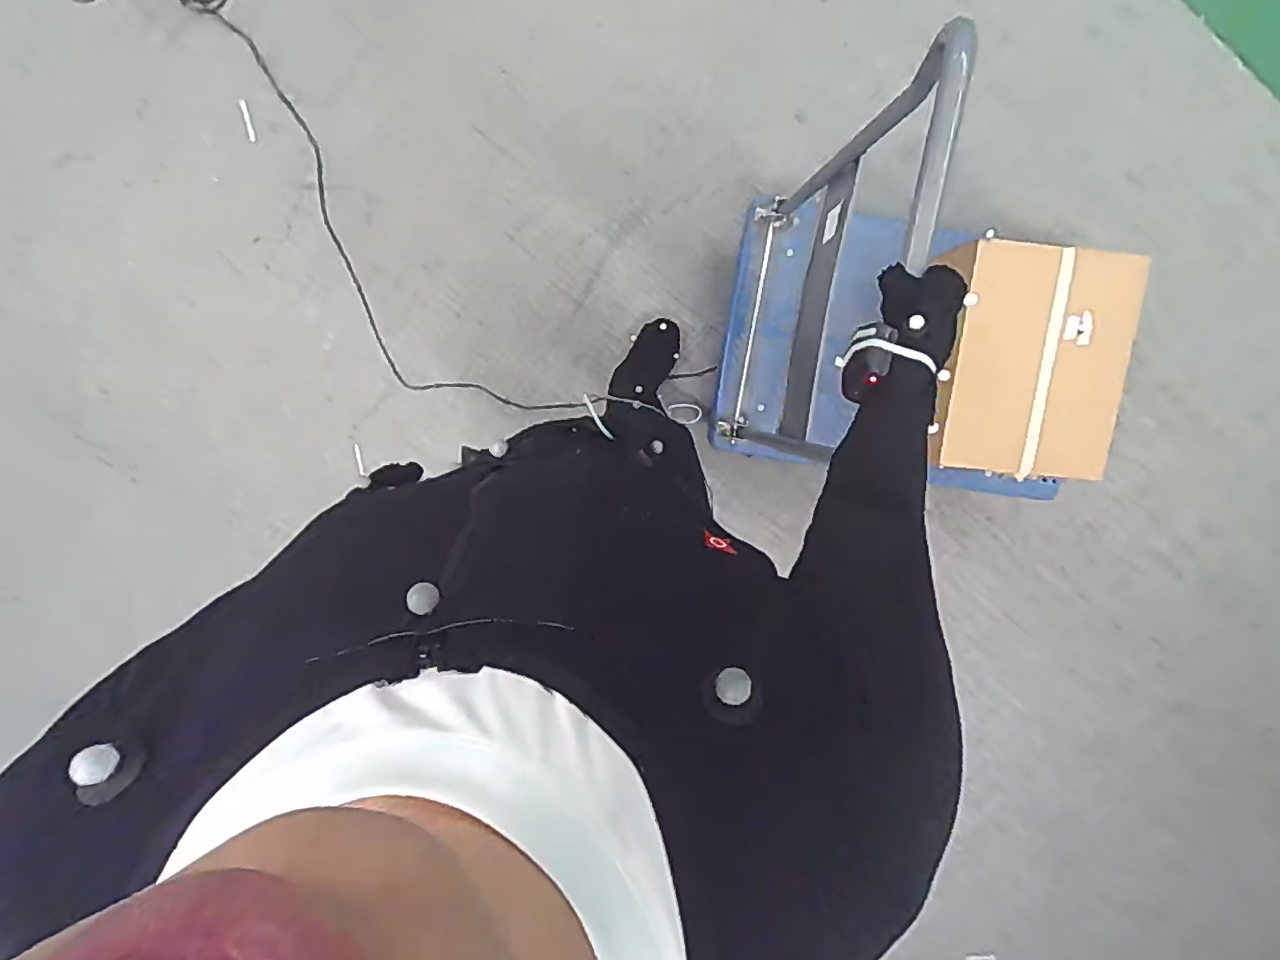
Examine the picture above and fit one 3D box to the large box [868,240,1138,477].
[{"bbox_3d":[0.709,-0.230,1.121,0.320,0.320,0.408,5,98,-3],"label":"large box"}]
